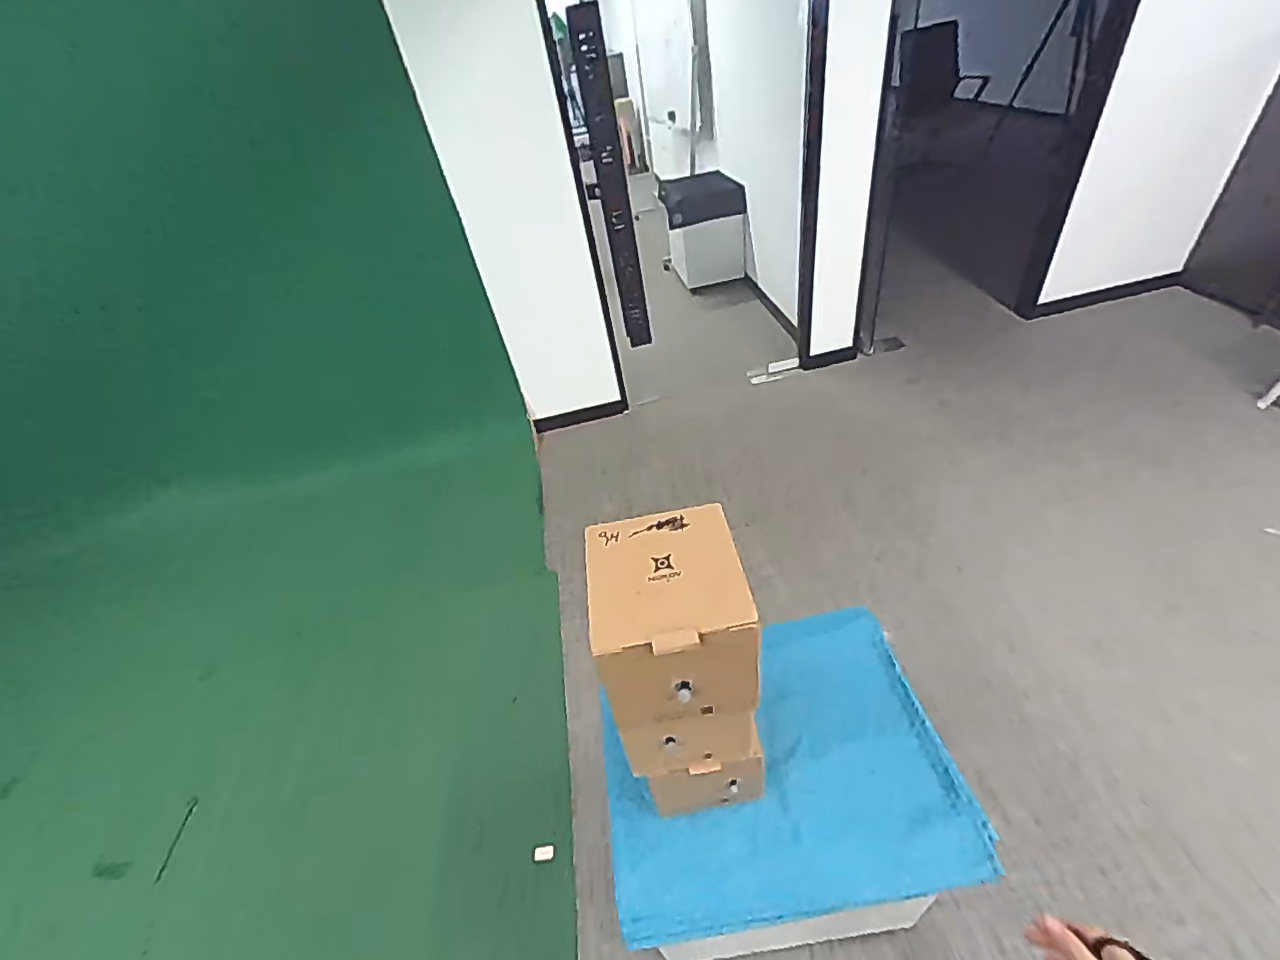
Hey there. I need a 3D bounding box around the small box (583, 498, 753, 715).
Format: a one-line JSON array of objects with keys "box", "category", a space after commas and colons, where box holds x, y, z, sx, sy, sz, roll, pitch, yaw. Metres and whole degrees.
[{"box": [0.032, 0.150, 0.622, 0.168, 0.176, 0.179, -9, 40, 1], "category": "small box"}]

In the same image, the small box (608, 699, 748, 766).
[{"box": [0.049, 0.267, 0.737, 0.168, 0.176, 0.179, -9, 40, 1], "category": "small box"}]

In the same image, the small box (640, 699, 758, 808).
[{"box": [0.085, 0.386, 0.842, 0.168, 0.176, 0.179, -10, 40, 0], "category": "small box"}]
